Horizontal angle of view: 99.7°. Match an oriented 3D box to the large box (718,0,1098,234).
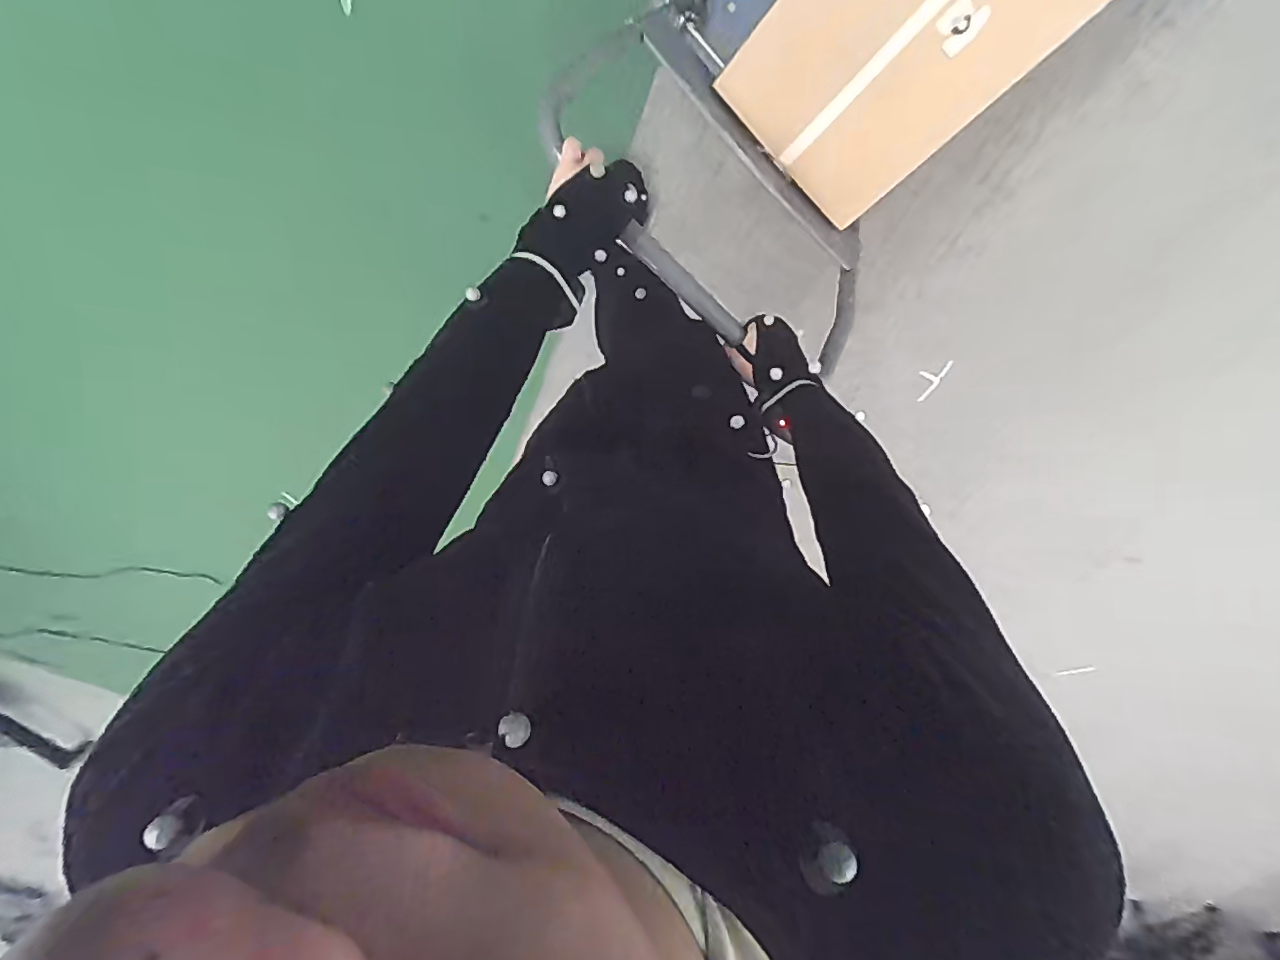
[{"bbox_3d":[0.390,-0.702,0.873,0.320,0.320,0.408,39,133,-18],"label":"large box"}]
